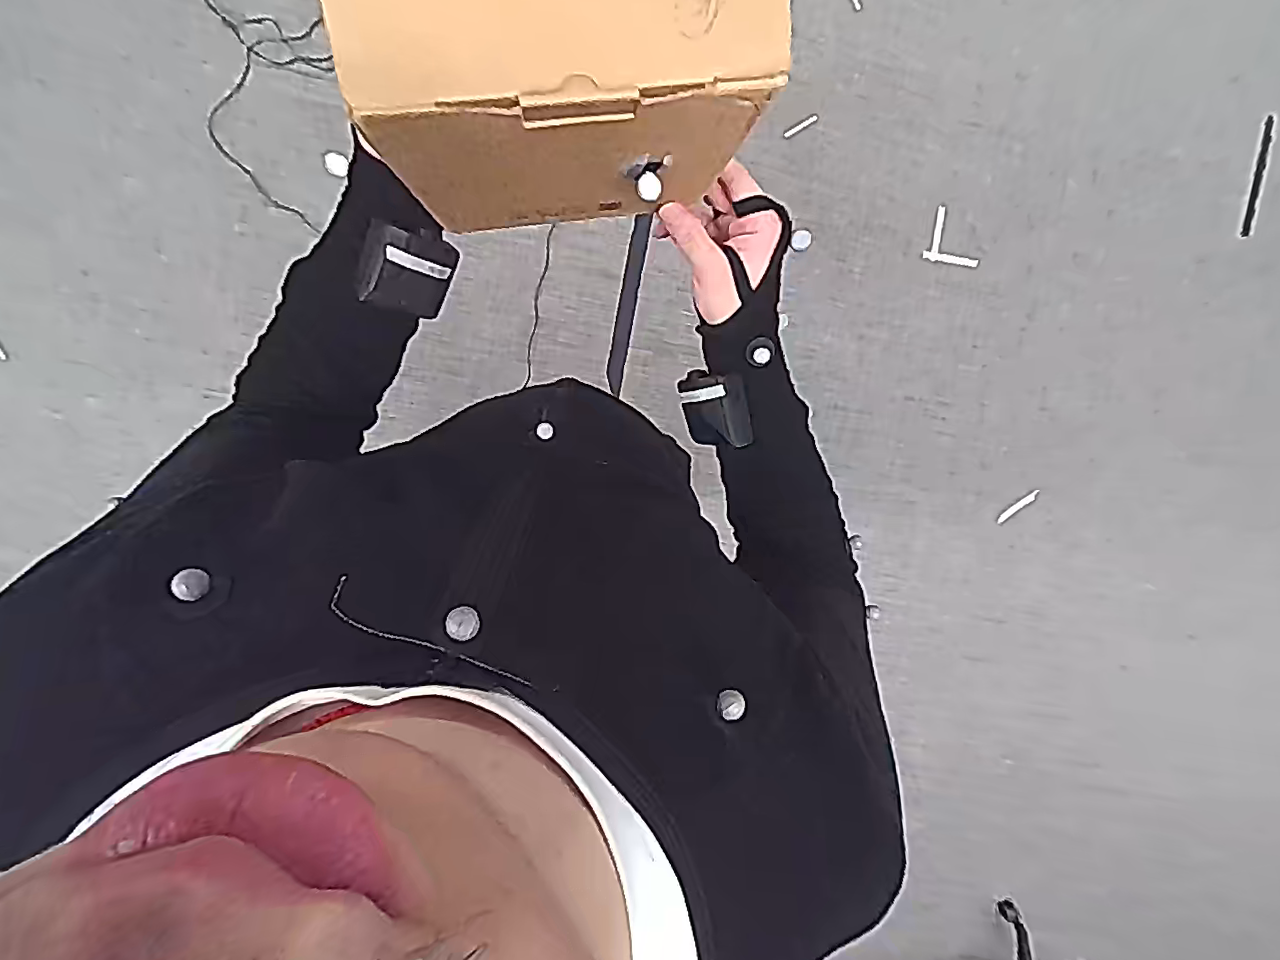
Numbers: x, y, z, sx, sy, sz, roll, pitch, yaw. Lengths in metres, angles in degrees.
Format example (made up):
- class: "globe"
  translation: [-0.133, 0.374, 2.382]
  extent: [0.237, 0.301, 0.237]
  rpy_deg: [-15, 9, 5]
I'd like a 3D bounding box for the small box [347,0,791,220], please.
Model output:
- class: "small box"
  translation: [-0.040, -0.242, 0.267]
  extent: [0.168, 0.176, 0.179]
  rpy_deg: [-9, 102, -7]
